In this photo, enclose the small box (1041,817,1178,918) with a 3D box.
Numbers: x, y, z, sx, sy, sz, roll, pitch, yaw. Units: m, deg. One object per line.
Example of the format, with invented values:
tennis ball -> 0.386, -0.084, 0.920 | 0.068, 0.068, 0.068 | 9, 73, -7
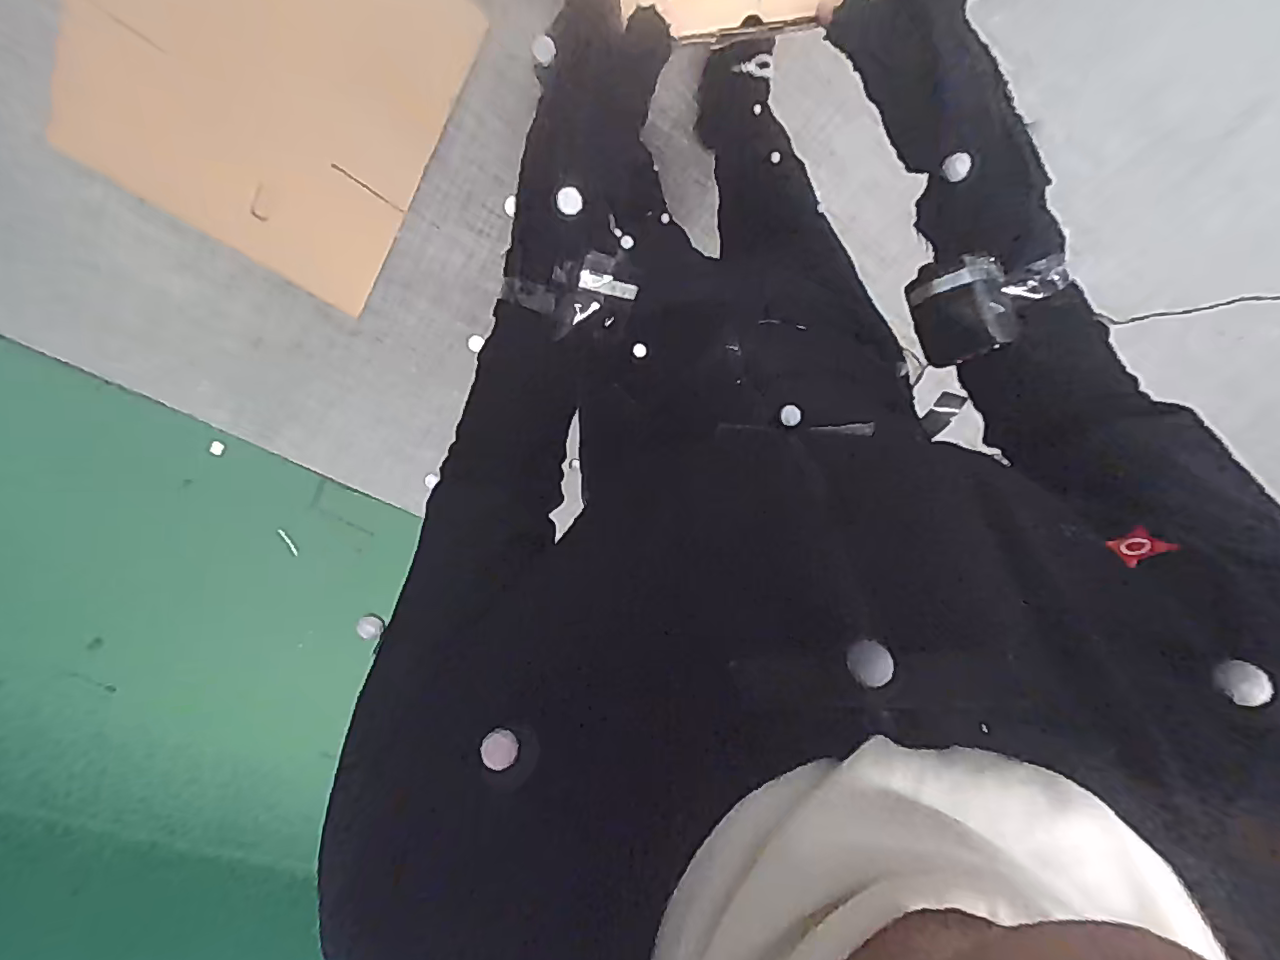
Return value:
small box -> 1.196, 0.992, 1.389 | 0.168, 0.176, 0.179 | 29, 122, -23
